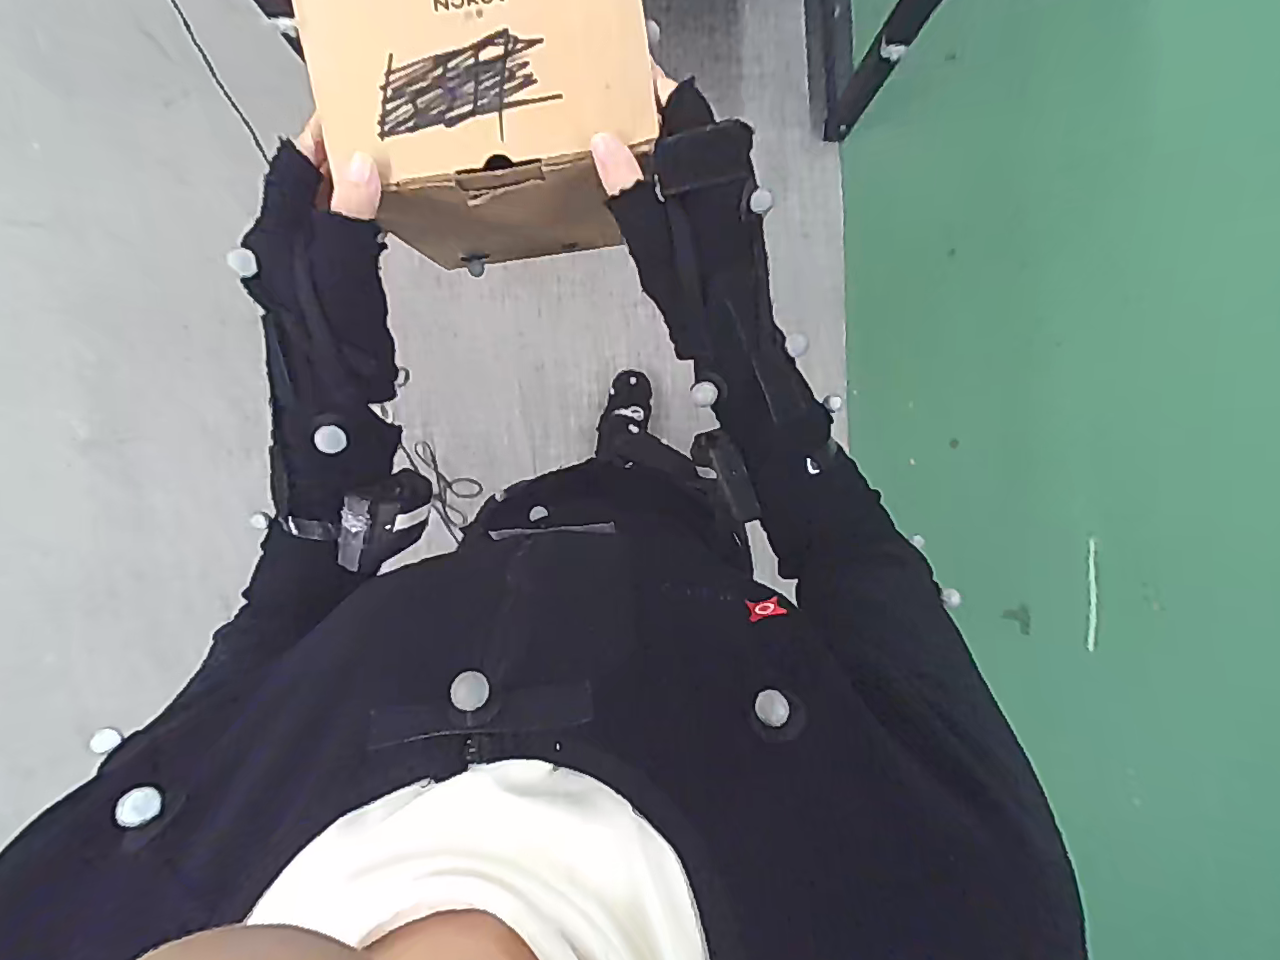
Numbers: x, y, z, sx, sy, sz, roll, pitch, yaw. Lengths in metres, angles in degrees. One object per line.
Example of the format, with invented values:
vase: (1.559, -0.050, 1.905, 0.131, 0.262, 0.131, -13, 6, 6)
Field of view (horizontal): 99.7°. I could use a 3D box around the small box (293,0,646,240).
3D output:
small box: (-0.087, -0.264, 0.335, 0.168, 0.176, 0.179, -8, 97, 0)
